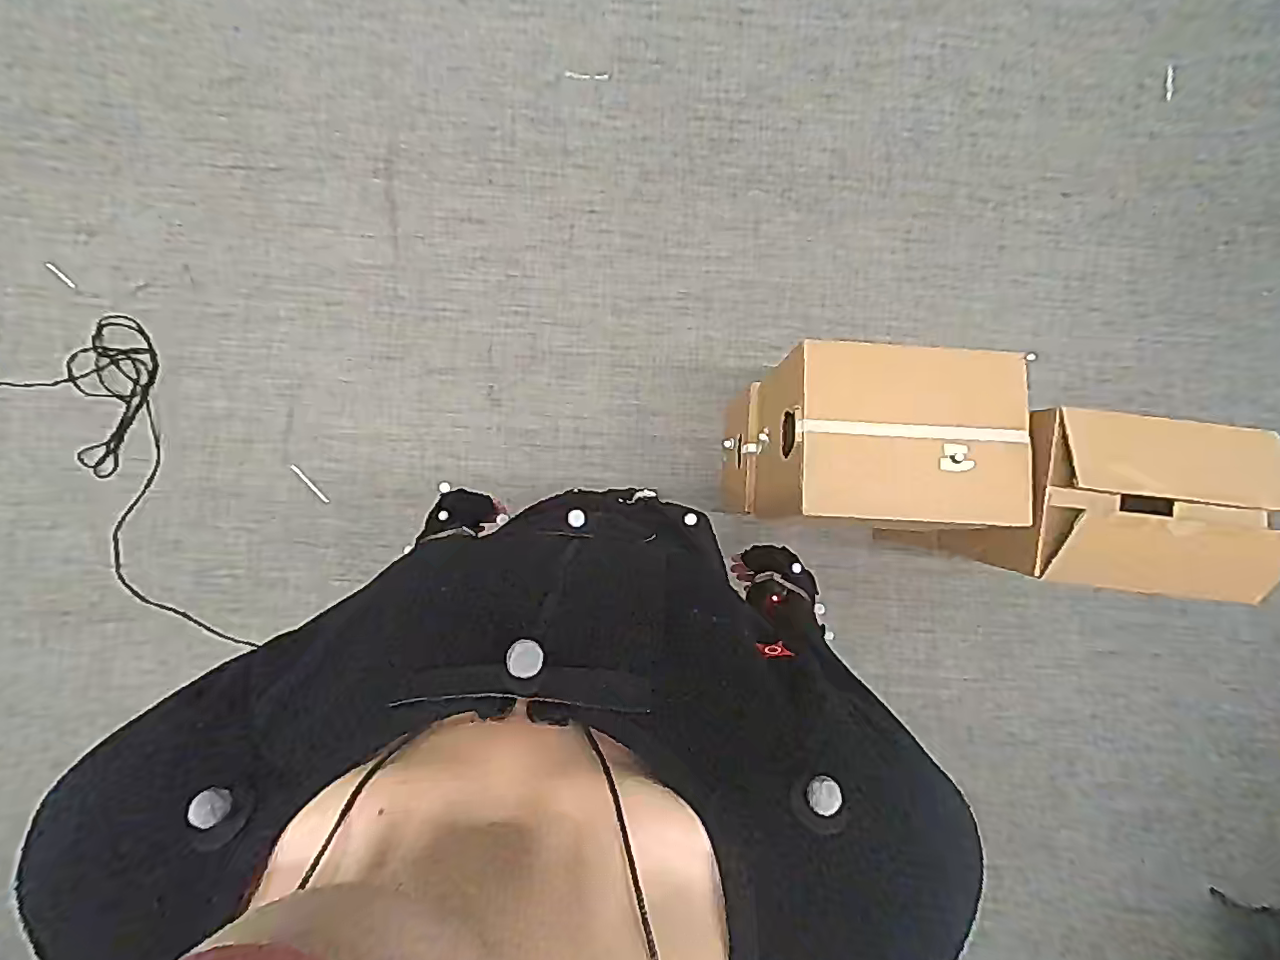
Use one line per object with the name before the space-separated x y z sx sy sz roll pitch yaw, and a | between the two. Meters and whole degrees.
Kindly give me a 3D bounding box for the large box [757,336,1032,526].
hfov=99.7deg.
large box | 0.466 -0.072 1.074 0.408 0.320 0.320 3 84 -3
